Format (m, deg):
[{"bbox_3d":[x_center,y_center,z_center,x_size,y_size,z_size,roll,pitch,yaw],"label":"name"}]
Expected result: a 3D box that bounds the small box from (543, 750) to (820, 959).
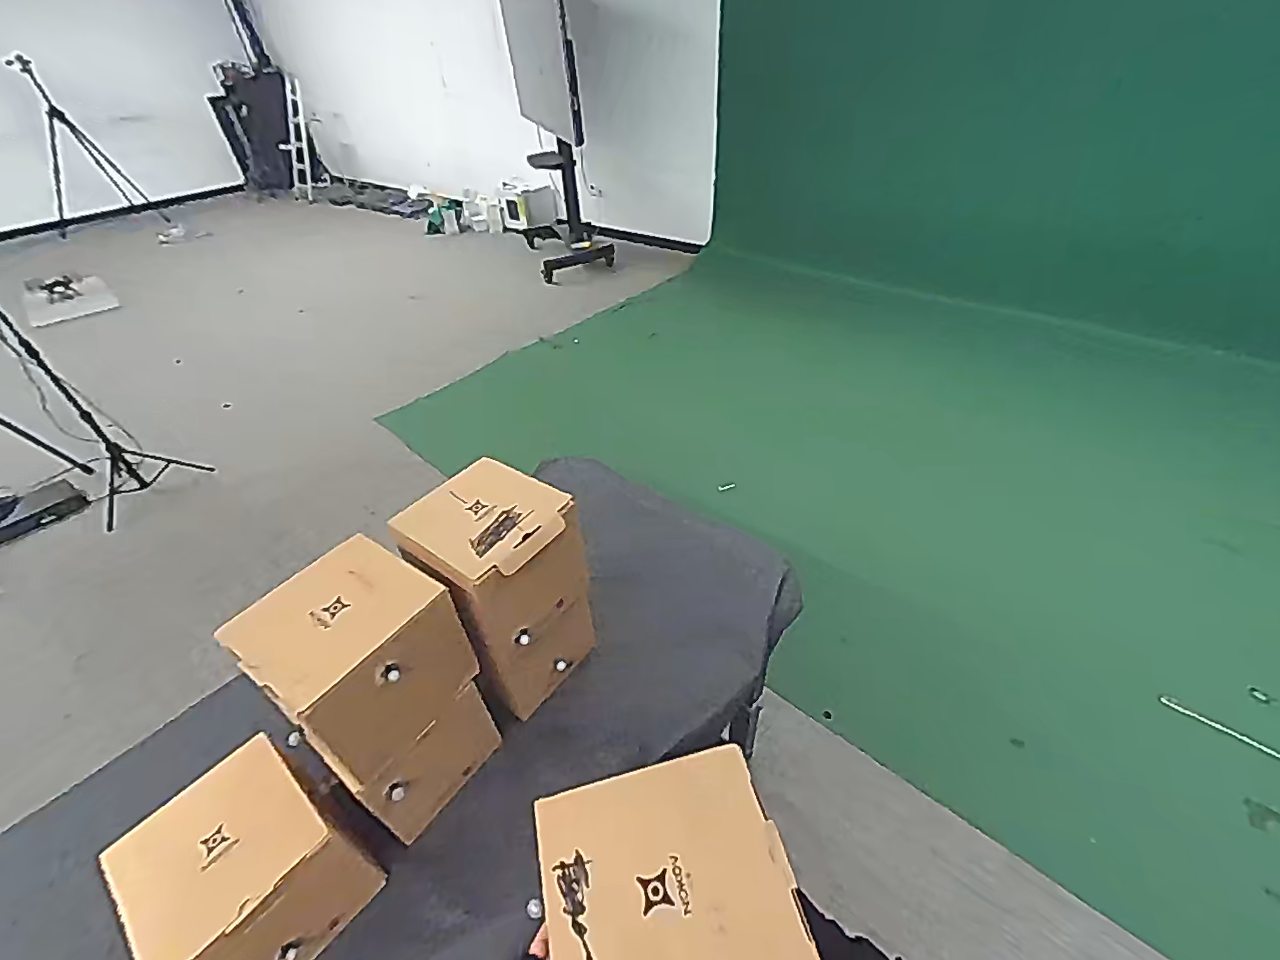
[{"bbox_3d":[0.025,0.355,0.446,0.179,0.176,0.168,-11,44,-9],"label":"small box"}]
